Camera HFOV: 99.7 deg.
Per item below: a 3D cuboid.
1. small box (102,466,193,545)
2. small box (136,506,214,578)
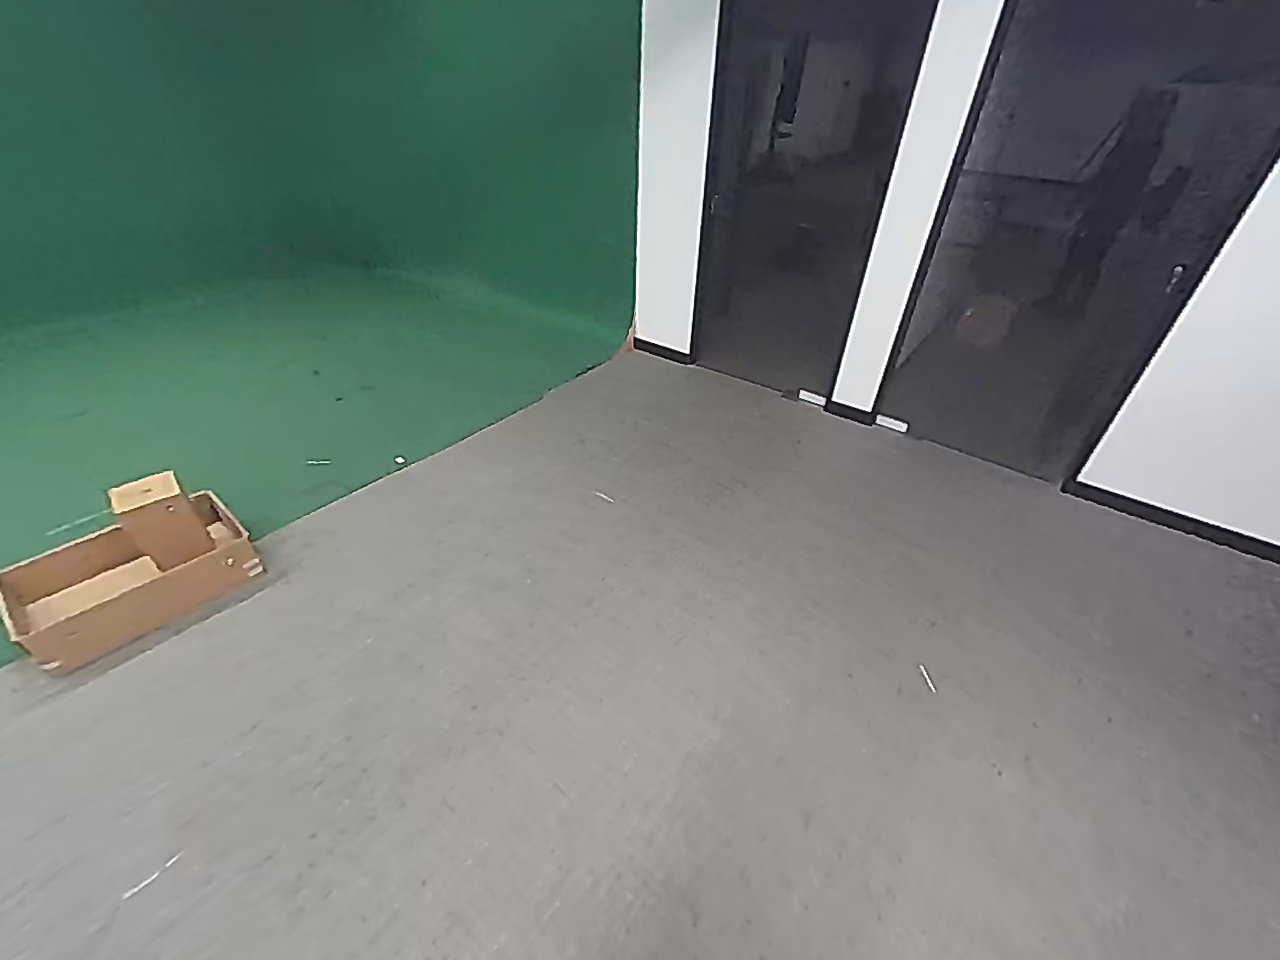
[{"bbox_3d":[-1.647,0.086,1.818,0.179,0.176,0.168,-28,47,-34],"label":"small box"},{"bbox_3d":[-1.659,0.215,1.920,0.168,0.176,0.179,-29,49,-34],"label":"small box"}]
